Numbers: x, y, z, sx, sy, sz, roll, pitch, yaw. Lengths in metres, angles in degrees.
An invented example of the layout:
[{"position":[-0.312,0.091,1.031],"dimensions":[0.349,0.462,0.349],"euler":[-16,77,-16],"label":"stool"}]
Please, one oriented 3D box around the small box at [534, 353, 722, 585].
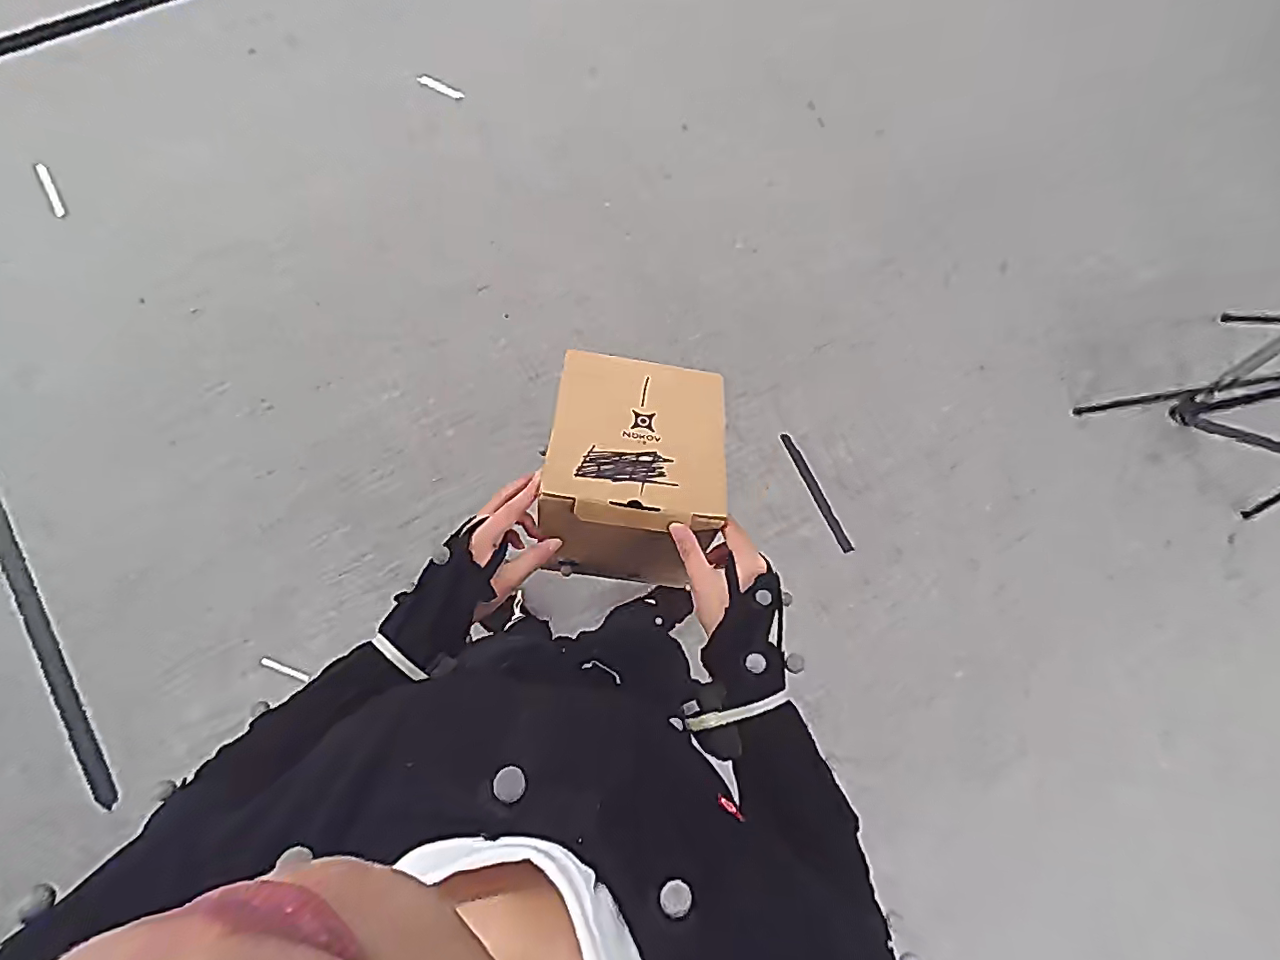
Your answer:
[{"position":[-0.014,-0.003,0.574],"dimensions":[0.168,0.176,0.179],"euler":[8,57,-6],"label":"small box"}]
